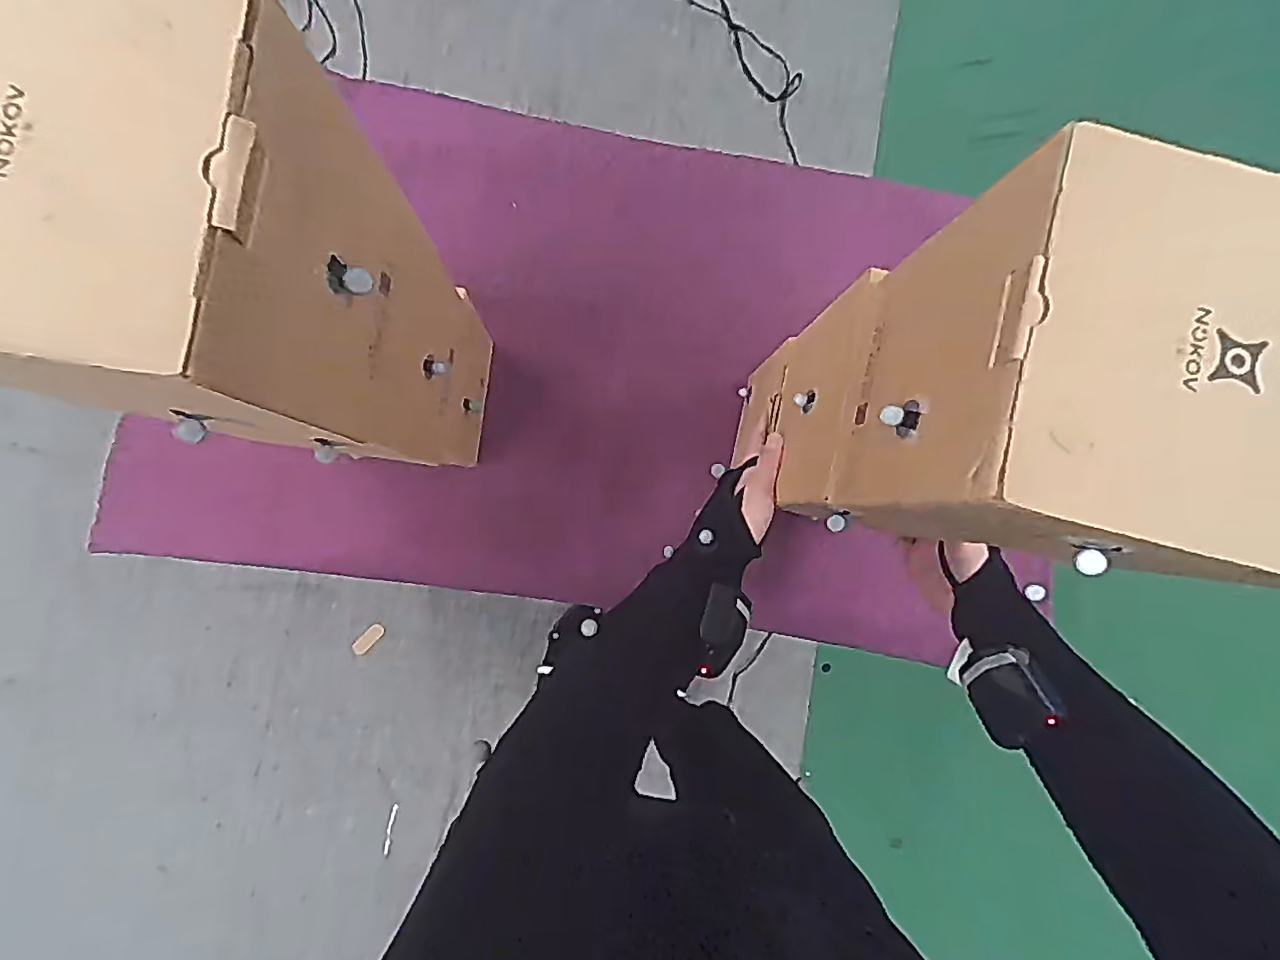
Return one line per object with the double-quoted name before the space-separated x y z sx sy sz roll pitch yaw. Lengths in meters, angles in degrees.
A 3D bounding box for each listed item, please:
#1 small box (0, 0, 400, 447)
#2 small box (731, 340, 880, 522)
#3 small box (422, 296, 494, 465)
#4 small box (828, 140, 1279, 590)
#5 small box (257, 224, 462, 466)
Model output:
"small box" -0.252 -0.115 0.290 0.179 0.176 0.168 7 85 -4
"small box" 0.217 -0.045 0.636 0.179 0.176 0.168 12 87 -2
"small box" -0.275 -0.111 0.619 0.179 0.176 0.168 6 86 -3
"small box" 0.231 -0.043 0.308 0.179 0.176 0.168 14 87 -2
"small box" -0.263 -0.108 0.453 0.179 0.176 0.168 8 85 -3
